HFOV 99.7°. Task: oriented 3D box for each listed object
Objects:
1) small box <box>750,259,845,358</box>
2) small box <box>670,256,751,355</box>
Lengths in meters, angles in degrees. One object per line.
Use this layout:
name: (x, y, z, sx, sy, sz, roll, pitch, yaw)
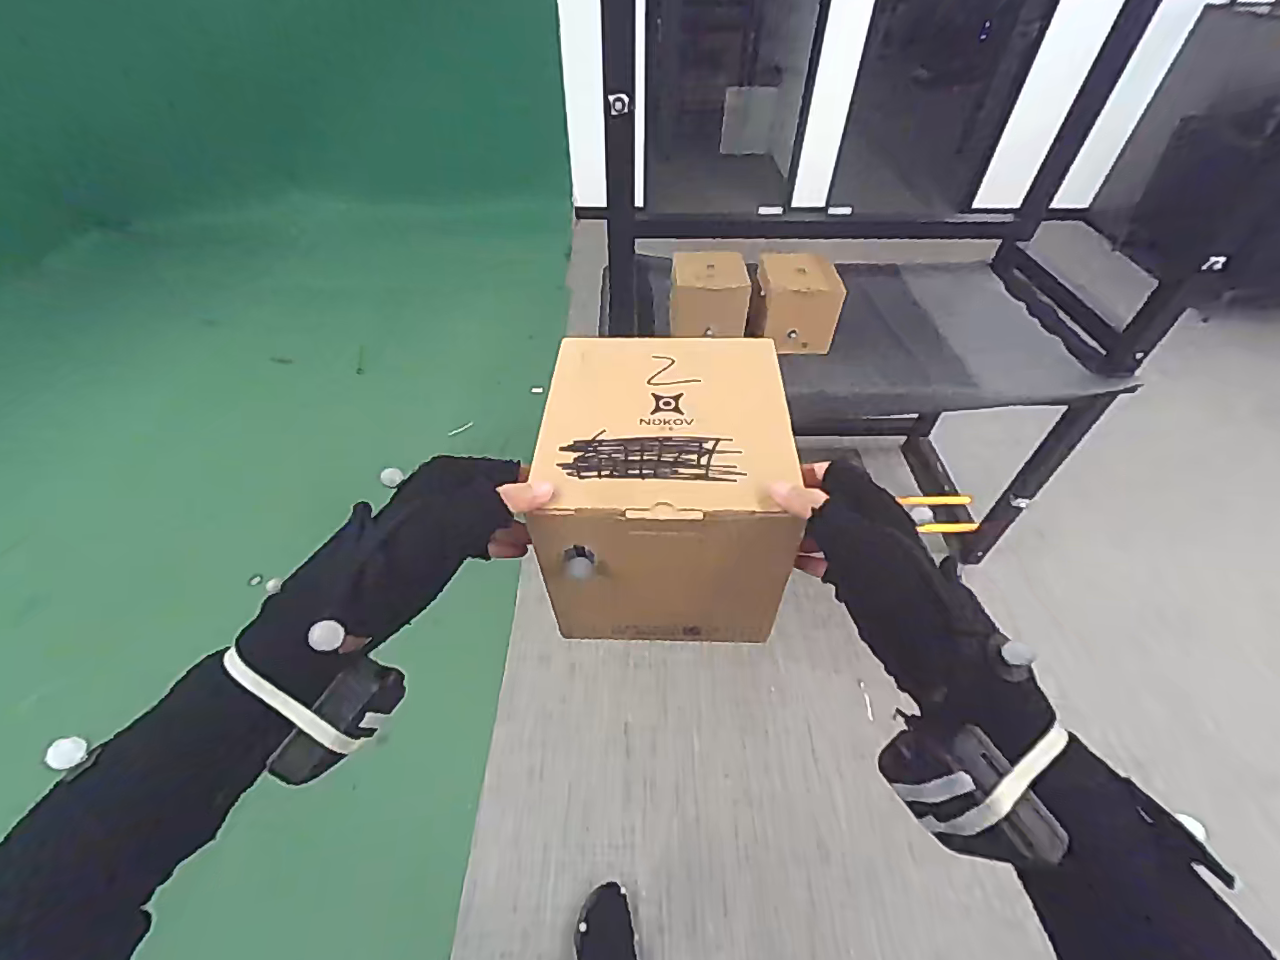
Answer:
small box: (0.368, -0.413, 1.302, 0.168, 0.176, 0.179, 0, 47, 0)
small box: (0.161, -0.420, 1.301, 0.168, 0.176, 0.179, 0, 47, -1)
